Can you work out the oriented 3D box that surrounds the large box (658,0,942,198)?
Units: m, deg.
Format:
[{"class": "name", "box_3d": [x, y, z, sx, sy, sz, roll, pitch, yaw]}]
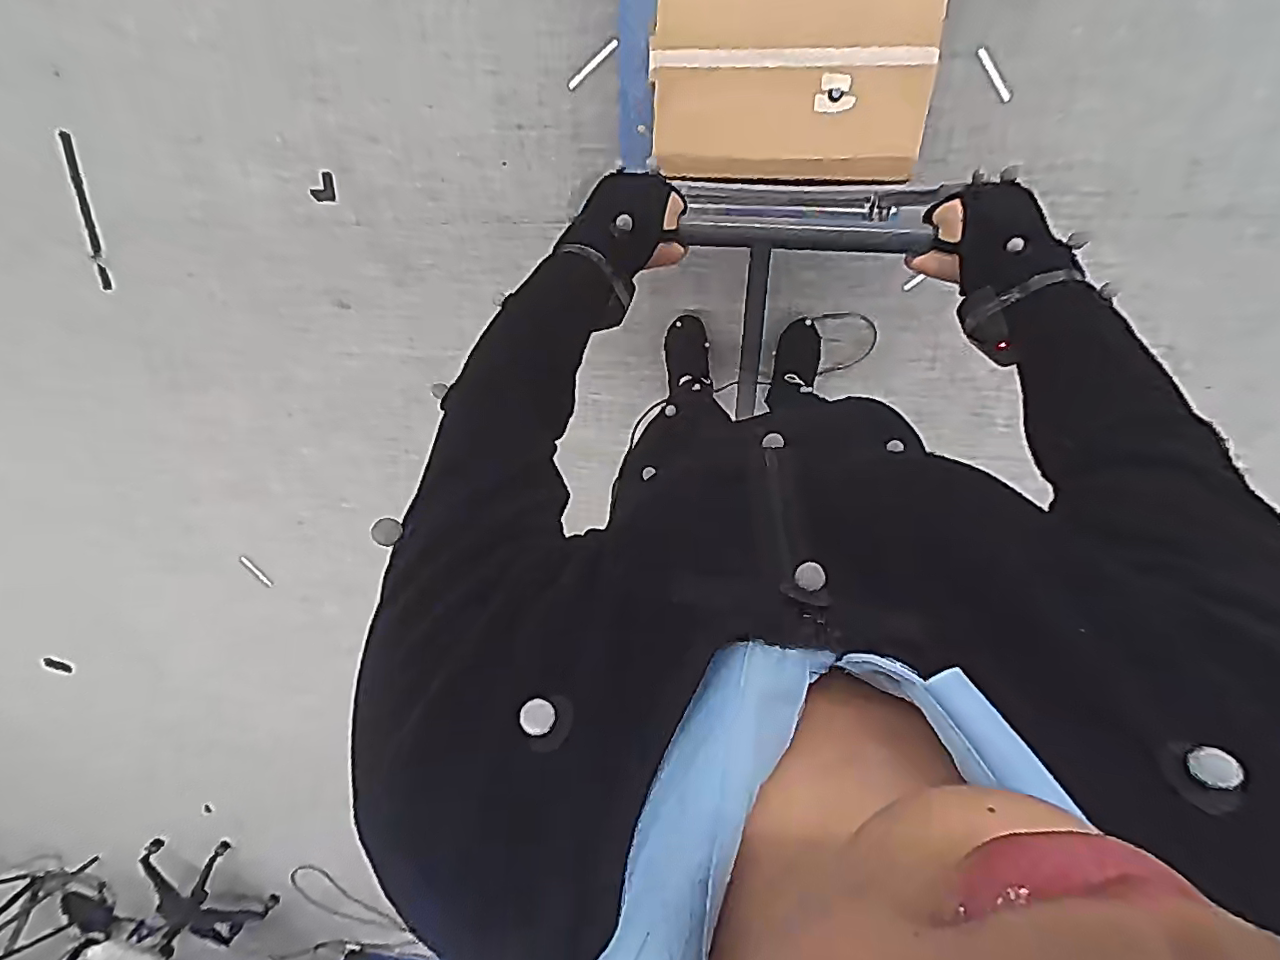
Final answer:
[{"class": "large box", "box_3d": [0.242, -0.680, 0.939, 0.408, 0.320, 0.320, 4, 113, 5]}]
